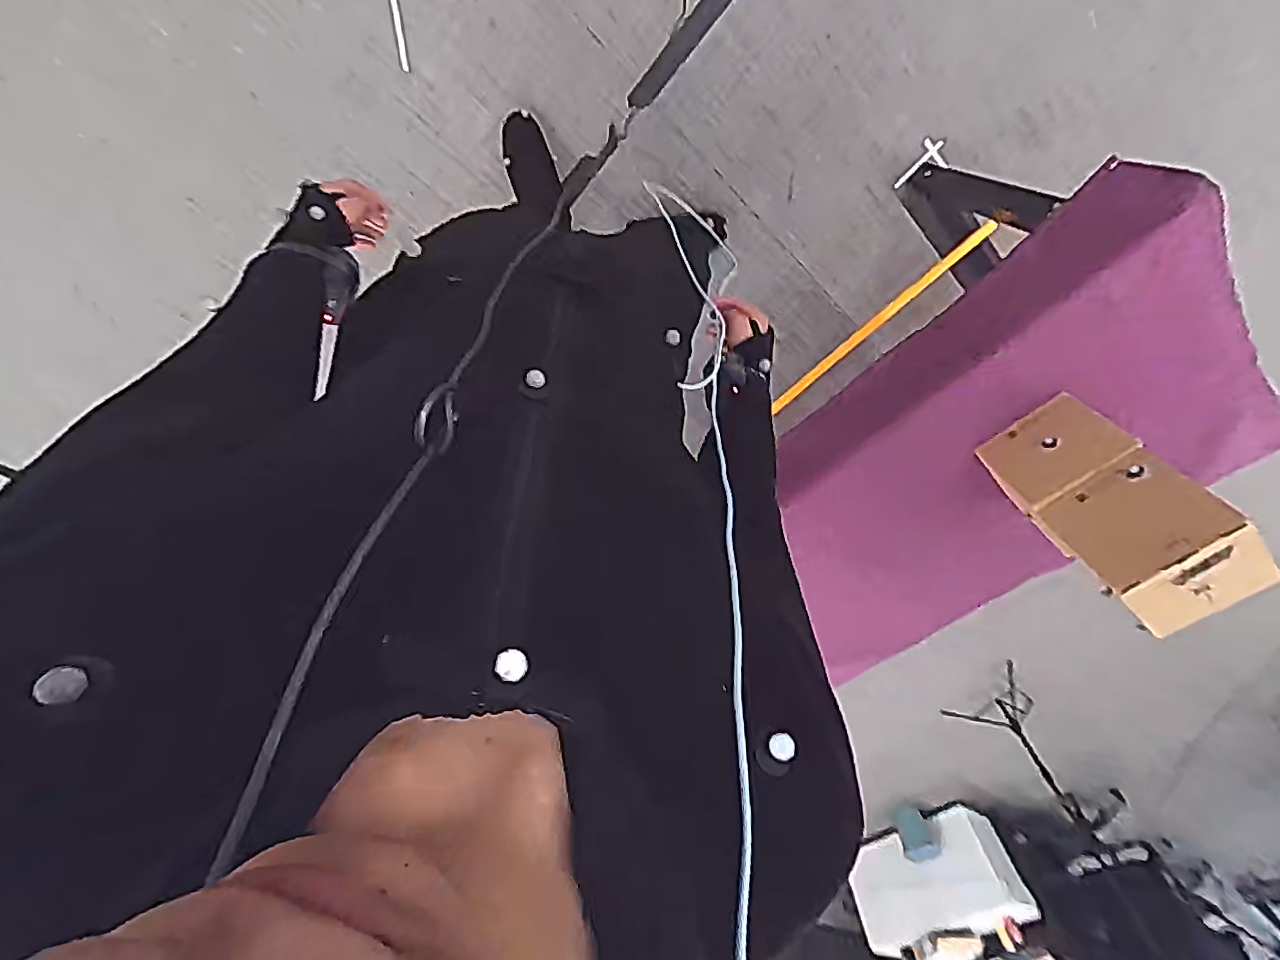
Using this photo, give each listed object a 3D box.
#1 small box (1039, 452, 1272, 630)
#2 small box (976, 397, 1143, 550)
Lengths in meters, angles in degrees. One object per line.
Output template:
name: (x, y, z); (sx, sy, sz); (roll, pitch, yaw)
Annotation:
small box: (0.748, 0.084, 0.803); (0.179, 0.176, 0.168); (33, 118, -27)
small box: (0.725, -0.019, 0.930); (0.168, 0.176, 0.179); (-39, 121, 23)
